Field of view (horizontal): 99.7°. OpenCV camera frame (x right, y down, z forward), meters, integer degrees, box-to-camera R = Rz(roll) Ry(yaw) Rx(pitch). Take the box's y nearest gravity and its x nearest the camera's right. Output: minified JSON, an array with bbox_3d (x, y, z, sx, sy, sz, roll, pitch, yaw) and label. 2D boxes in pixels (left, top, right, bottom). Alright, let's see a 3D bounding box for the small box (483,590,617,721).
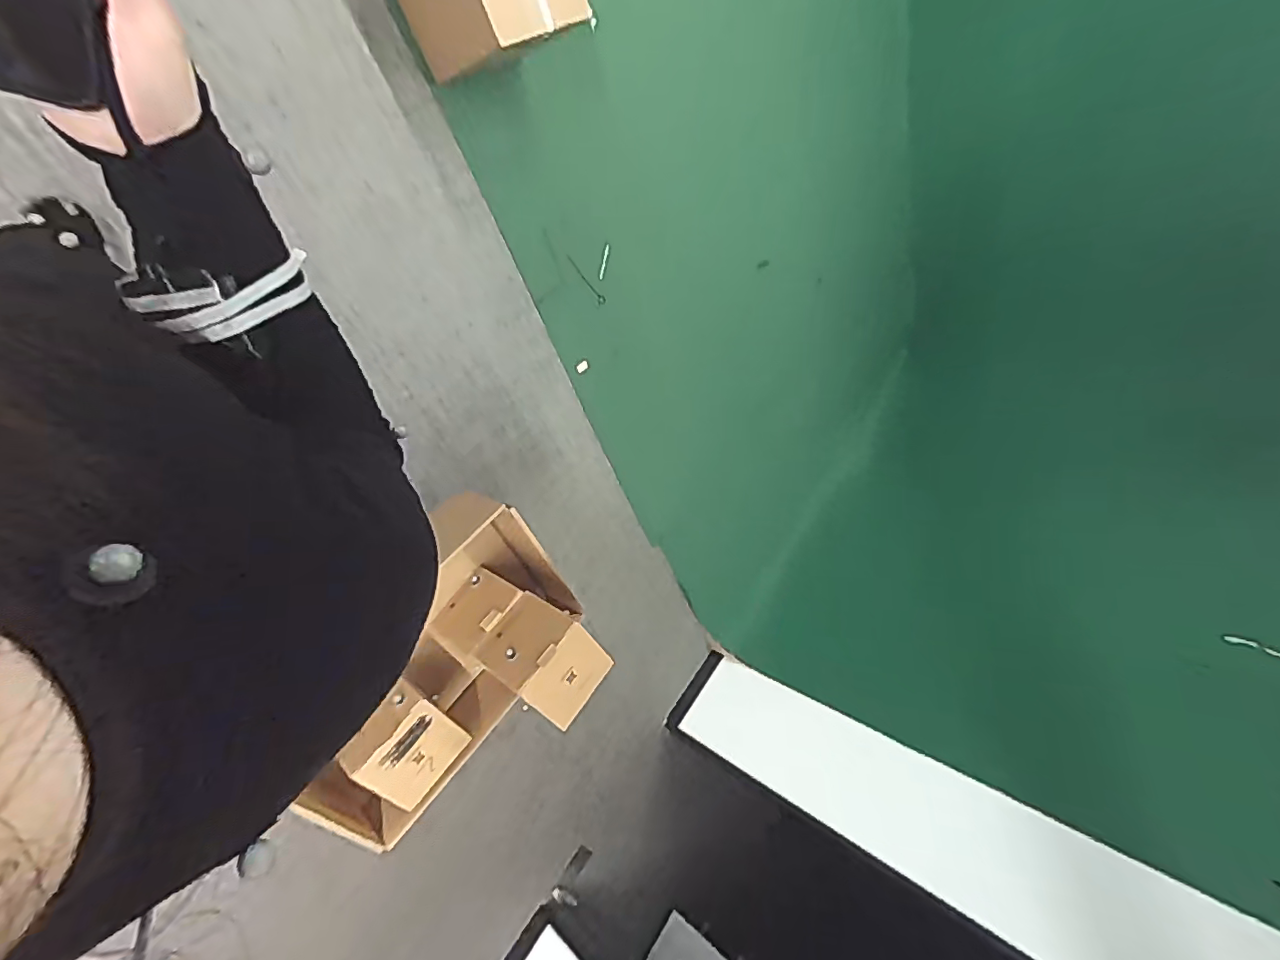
[{"bbox_3d":[-0.185,0.347,1.103,0.168,0.176,0.179,-49,133,-23],"label":"small box"}]
